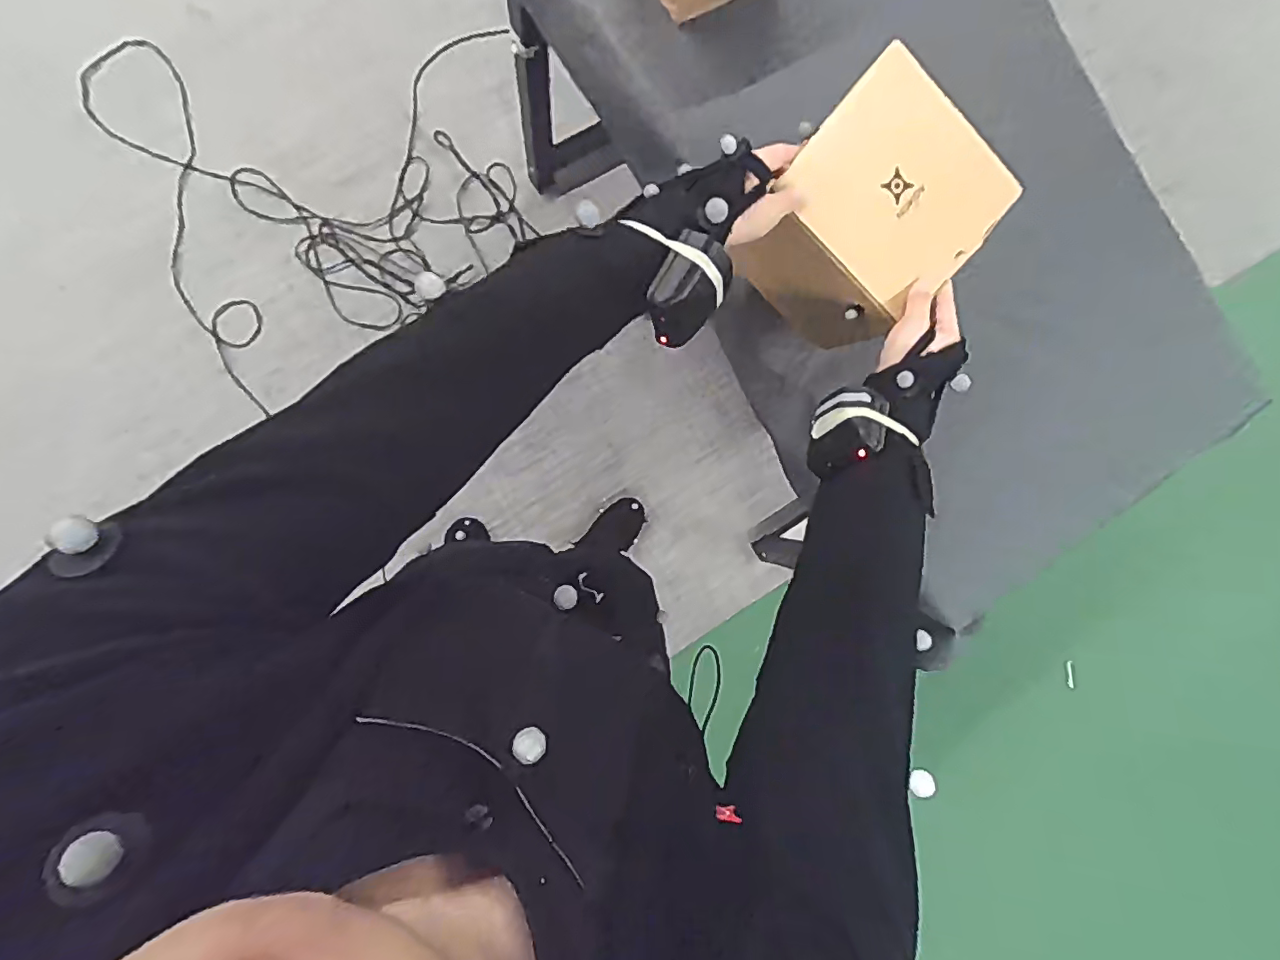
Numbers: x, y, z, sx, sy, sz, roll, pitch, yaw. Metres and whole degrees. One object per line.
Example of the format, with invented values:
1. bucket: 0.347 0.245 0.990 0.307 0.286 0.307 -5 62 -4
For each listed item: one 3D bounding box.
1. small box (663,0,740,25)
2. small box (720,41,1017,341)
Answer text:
1. small box: 0.084 -0.696 0.622 0.168 0.176 0.179 -33 93 -7
2. small box: 0.207 -0.259 0.541 0.179 0.176 0.168 40 91 -11
